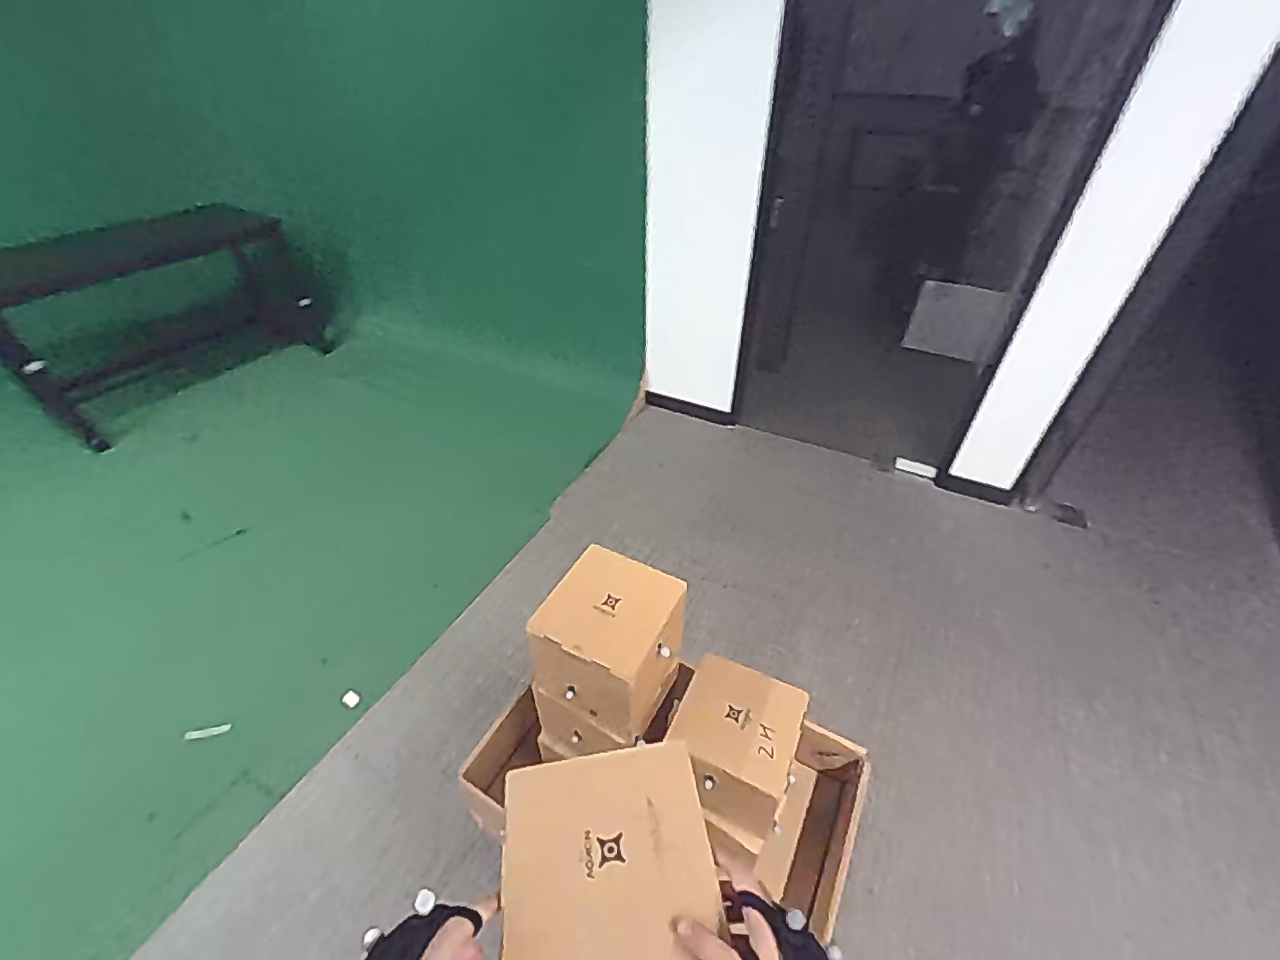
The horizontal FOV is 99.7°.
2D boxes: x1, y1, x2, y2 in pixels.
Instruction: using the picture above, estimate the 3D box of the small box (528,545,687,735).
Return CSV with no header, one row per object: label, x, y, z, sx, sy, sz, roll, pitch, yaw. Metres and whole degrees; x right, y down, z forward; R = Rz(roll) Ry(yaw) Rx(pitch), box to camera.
small box,-0.044,0.236,0.806,0.168,0.176,0.179,19,44,20
